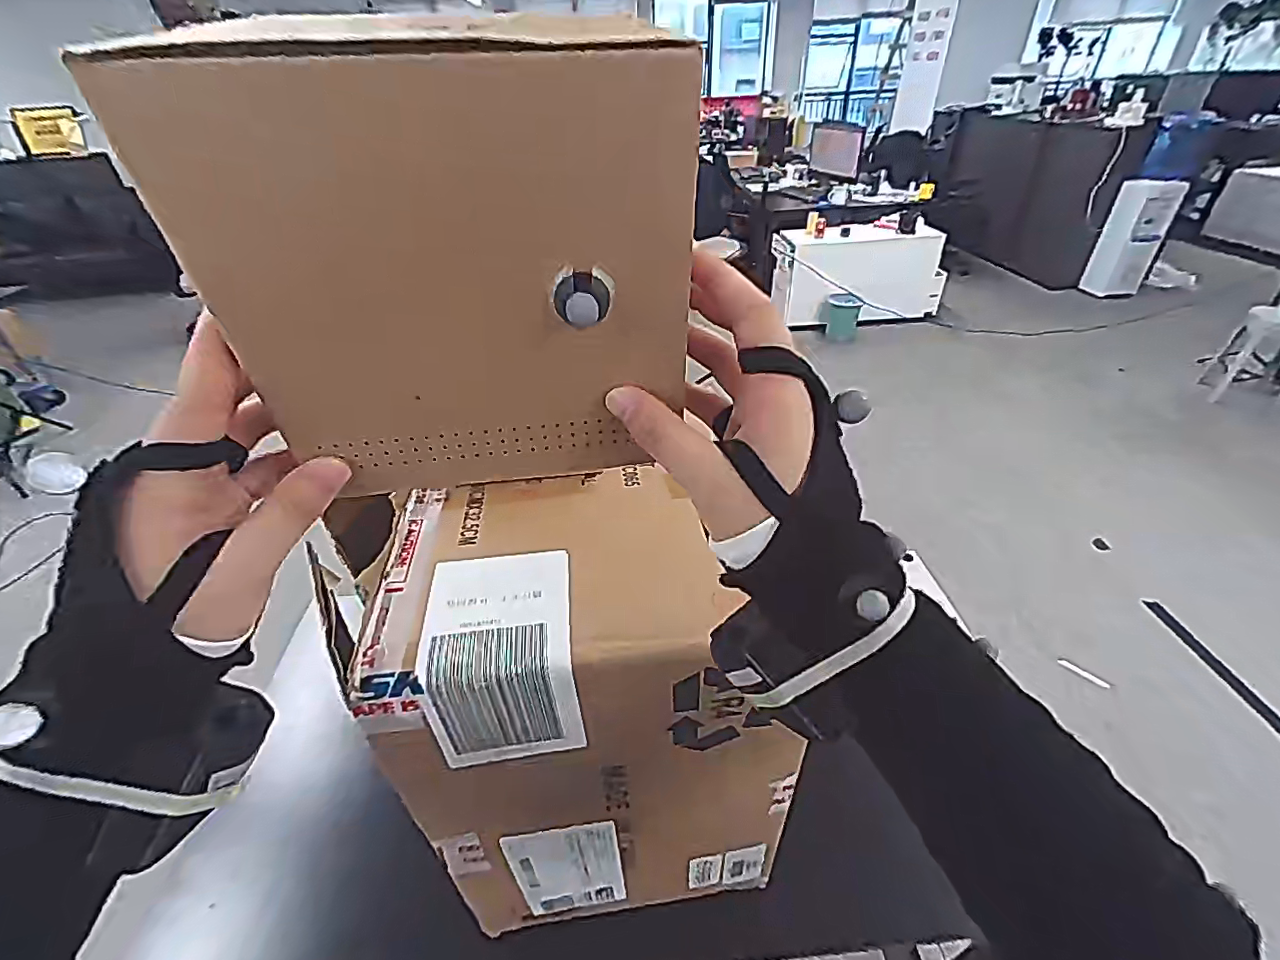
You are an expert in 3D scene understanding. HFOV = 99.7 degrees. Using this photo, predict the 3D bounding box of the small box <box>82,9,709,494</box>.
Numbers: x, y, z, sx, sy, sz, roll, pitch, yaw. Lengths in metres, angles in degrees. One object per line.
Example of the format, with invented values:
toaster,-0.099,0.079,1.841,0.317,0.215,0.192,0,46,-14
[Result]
small box,-0.076,-0.113,0.264,0.179,0.176,0.168,-8,43,-6
